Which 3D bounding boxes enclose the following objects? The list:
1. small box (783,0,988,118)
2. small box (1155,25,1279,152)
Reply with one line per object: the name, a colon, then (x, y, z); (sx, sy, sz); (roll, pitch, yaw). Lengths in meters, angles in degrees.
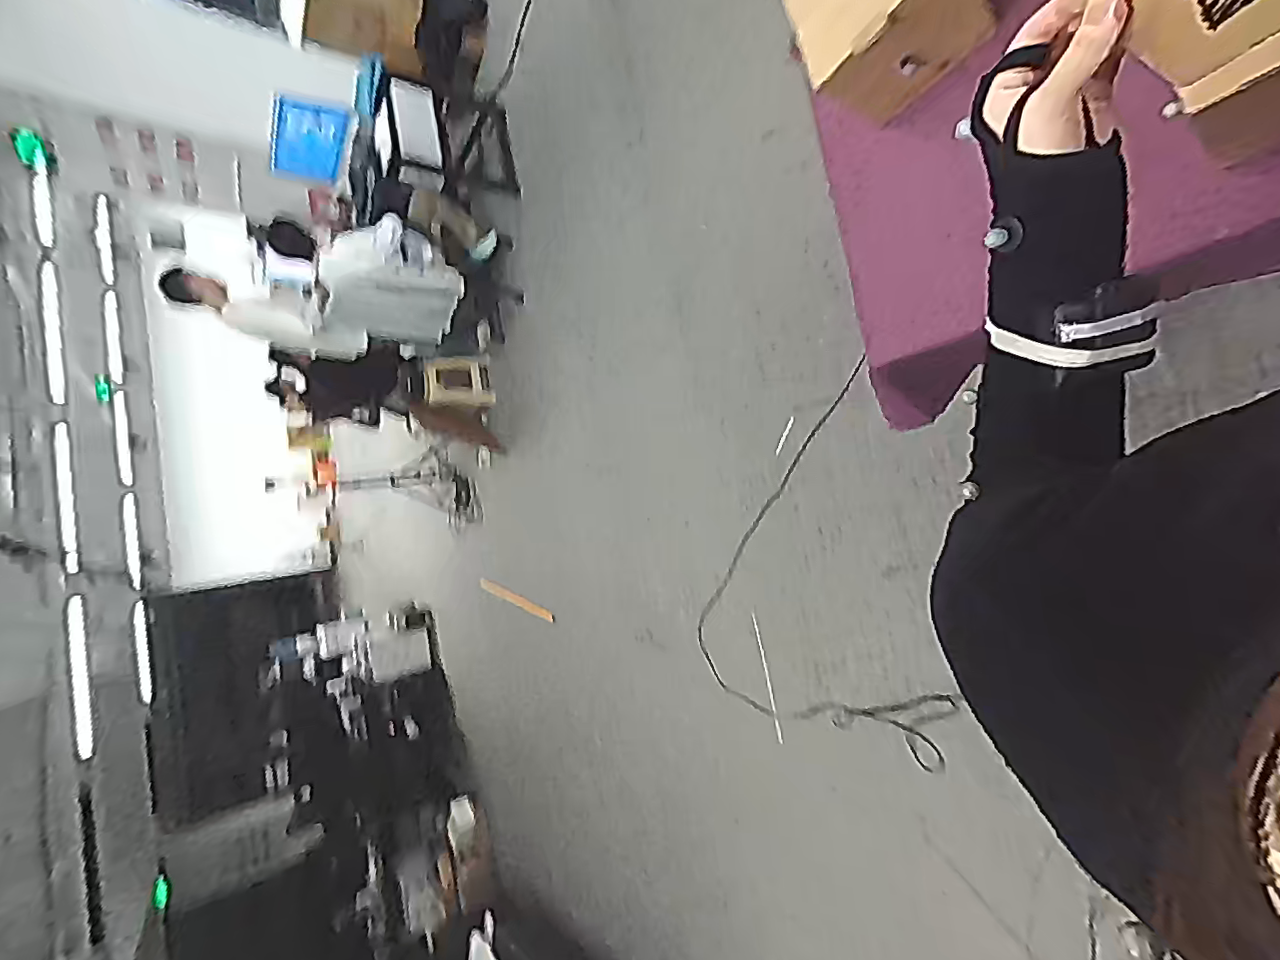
small box: (0.319, -0.617, 0.709); (0.168, 0.176, 0.179); (-24, 77, 51)
small box: (0.545, -0.406, 0.444); (0.168, 0.176, 0.179); (-17, 80, 52)
